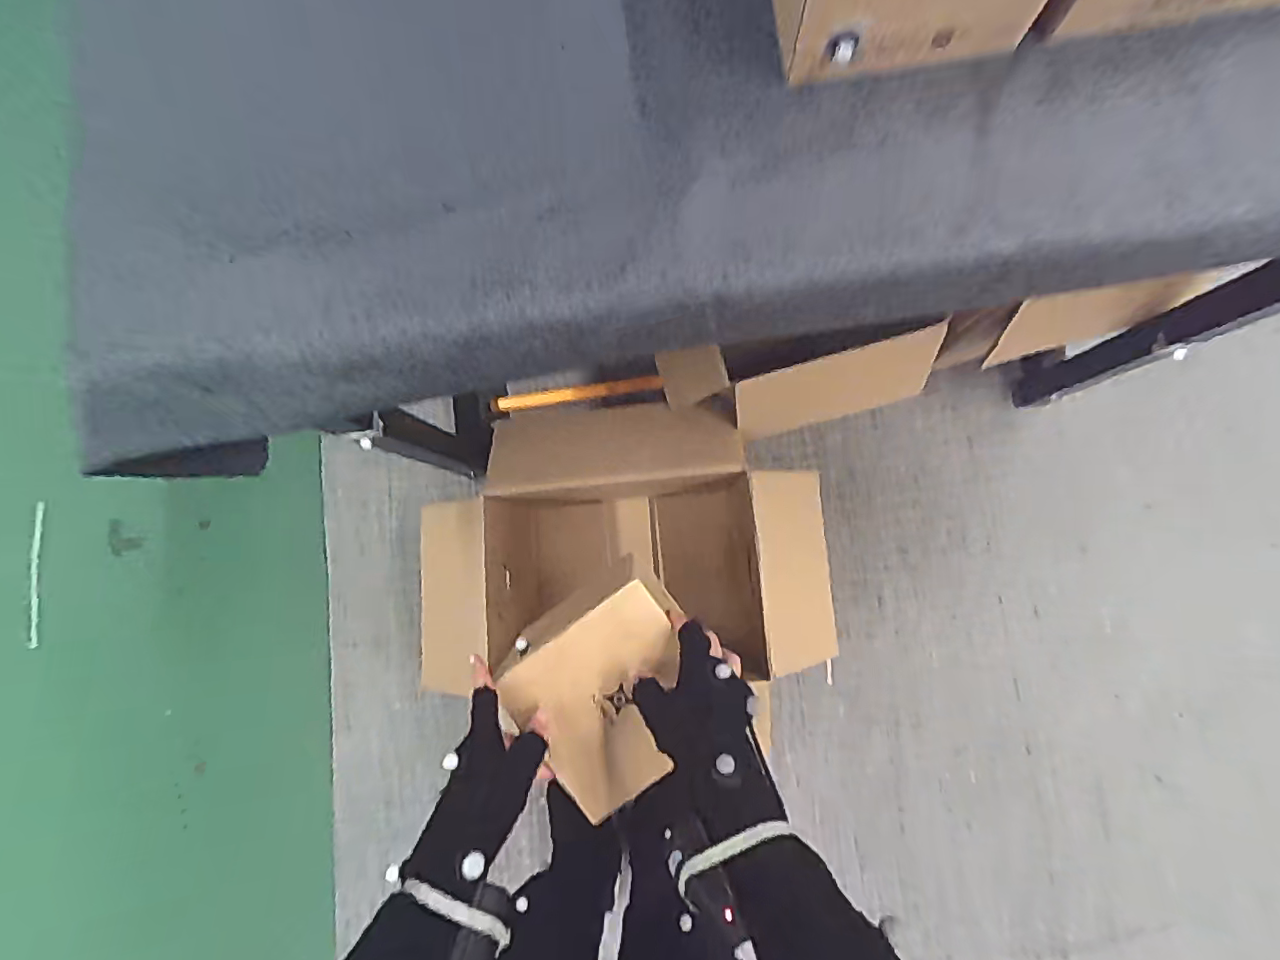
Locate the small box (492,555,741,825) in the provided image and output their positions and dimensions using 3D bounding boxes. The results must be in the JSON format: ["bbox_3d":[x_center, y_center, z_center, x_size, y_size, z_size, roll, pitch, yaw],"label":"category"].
[{"bbox_3d":[-0.023,0.201,0.574,0.179,0.176,0.168,-38,91,1],"label":"small box"}]
